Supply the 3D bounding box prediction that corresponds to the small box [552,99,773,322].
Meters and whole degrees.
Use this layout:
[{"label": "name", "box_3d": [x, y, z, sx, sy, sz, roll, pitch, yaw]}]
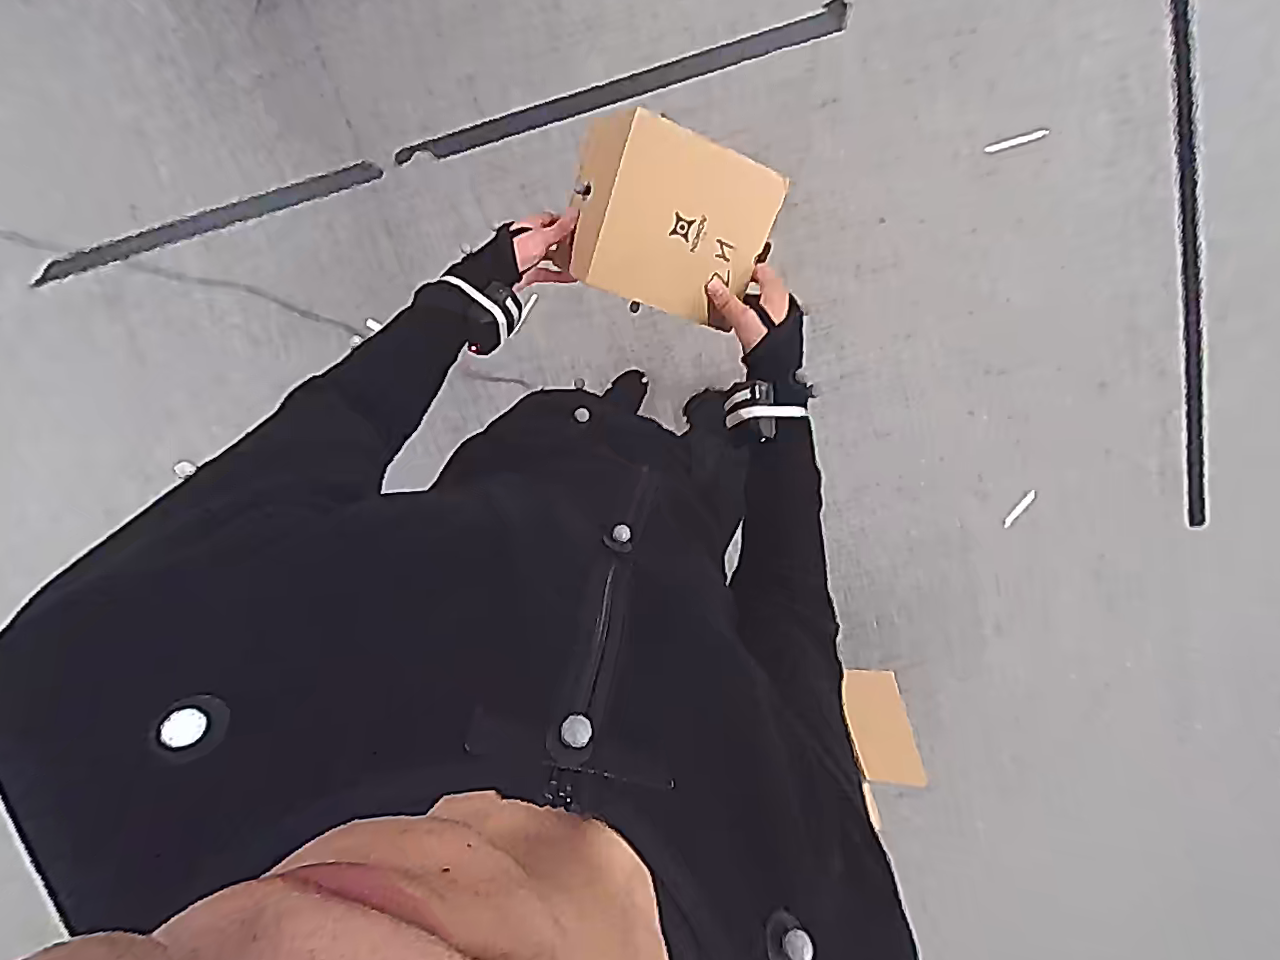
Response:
[{"label": "small box", "box_3d": [0.012, -0.300, 0.624, 0.179, 0.176, 0.168, 9, 113, -28]}]
